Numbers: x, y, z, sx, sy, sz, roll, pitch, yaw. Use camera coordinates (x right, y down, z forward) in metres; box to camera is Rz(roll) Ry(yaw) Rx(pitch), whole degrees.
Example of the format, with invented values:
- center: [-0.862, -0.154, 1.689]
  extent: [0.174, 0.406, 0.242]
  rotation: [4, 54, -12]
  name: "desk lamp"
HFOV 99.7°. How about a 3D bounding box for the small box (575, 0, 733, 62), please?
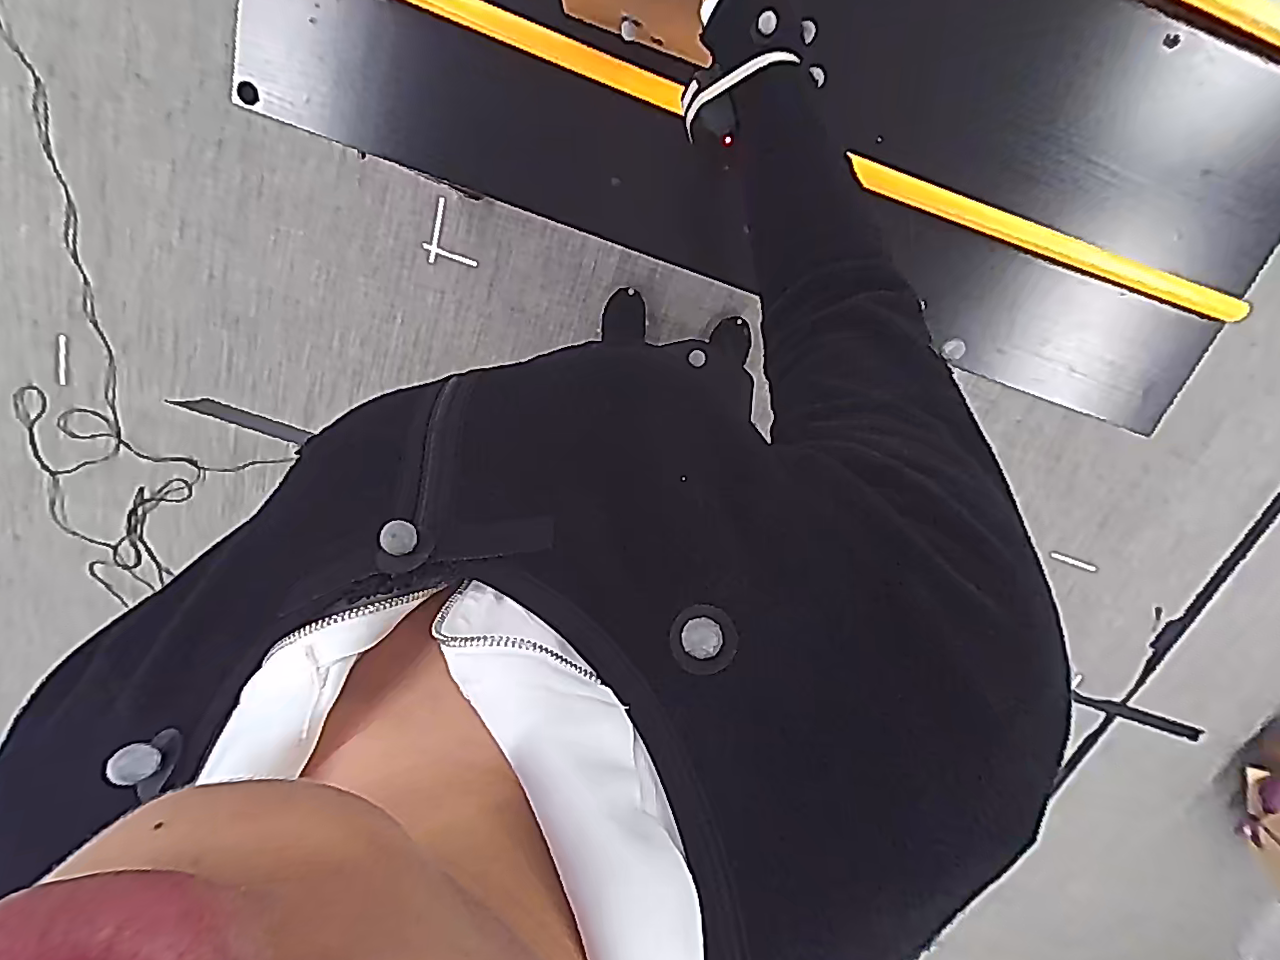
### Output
- center: [0.027, -0.527, 0.482]
  extent: [0.168, 0.176, 0.179]
  rotation: [17, 110, -6]
  name: "small box"
